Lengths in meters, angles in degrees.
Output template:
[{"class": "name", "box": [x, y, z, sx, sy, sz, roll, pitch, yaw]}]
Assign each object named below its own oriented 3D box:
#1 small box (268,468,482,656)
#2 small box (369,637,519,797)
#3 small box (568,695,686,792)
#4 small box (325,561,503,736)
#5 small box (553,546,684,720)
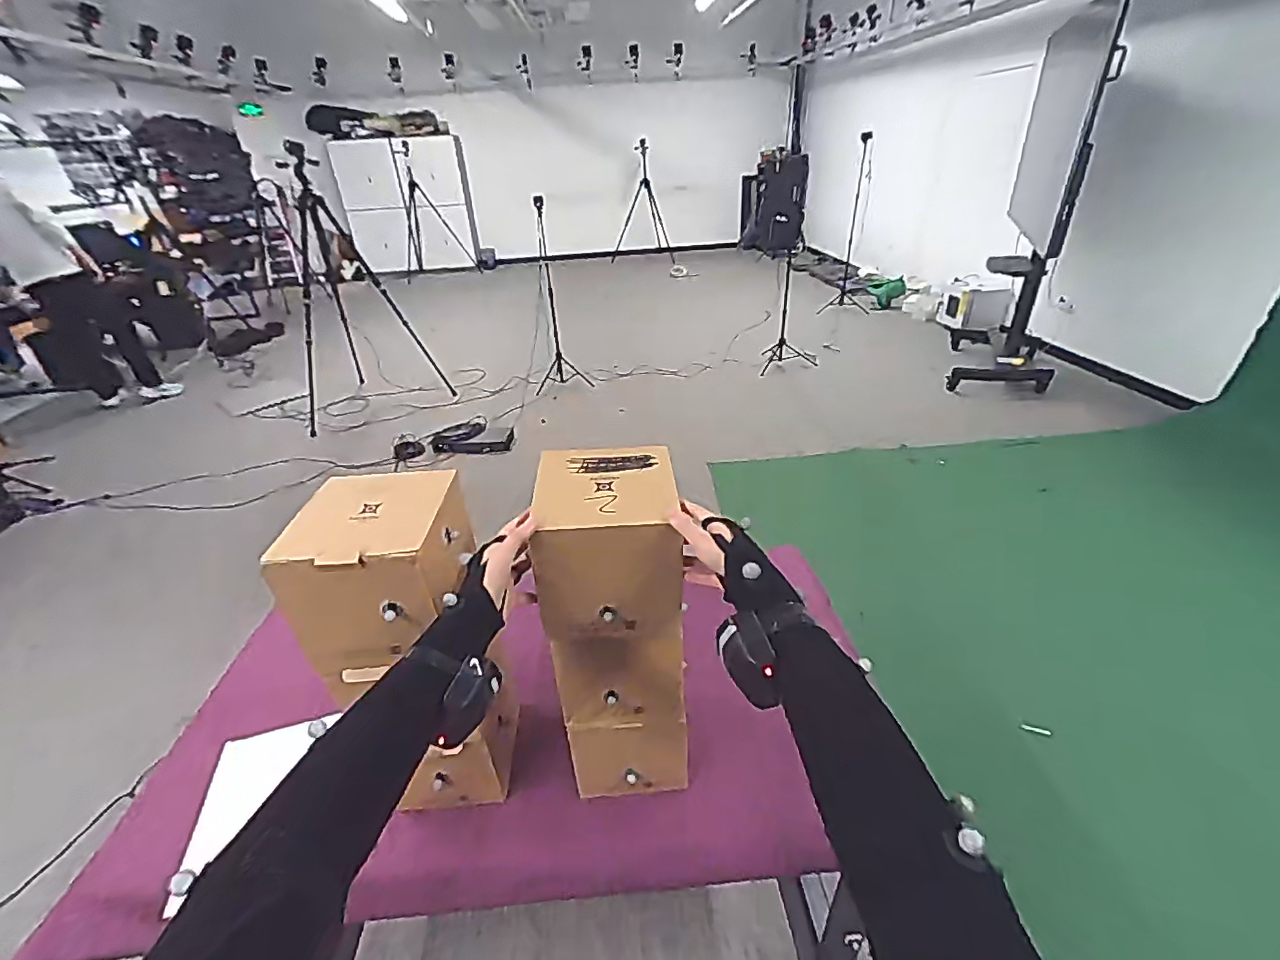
[{"class": "small box", "box": [-0.307, 0.103, 0.676, 0.168, 0.176, 0.179, -3, 31, -1]}, {"class": "small box", "box": [-0.293, 0.377, 0.856, 0.168, 0.176, 0.179, -3, 32, -2]}, {"class": "small box", "box": [-0.018, 0.359, 0.858, 0.168, 0.176, 0.179, -5, 31, -1]}, {"class": "small box", "box": [-0.300, 0.240, 0.765, 0.168, 0.176, 0.179, -4, 31, -1]}, {"class": "small box", "box": [-0.028, 0.216, 0.780, 0.168, 0.176, 0.179, -4, 31, -1]}]
